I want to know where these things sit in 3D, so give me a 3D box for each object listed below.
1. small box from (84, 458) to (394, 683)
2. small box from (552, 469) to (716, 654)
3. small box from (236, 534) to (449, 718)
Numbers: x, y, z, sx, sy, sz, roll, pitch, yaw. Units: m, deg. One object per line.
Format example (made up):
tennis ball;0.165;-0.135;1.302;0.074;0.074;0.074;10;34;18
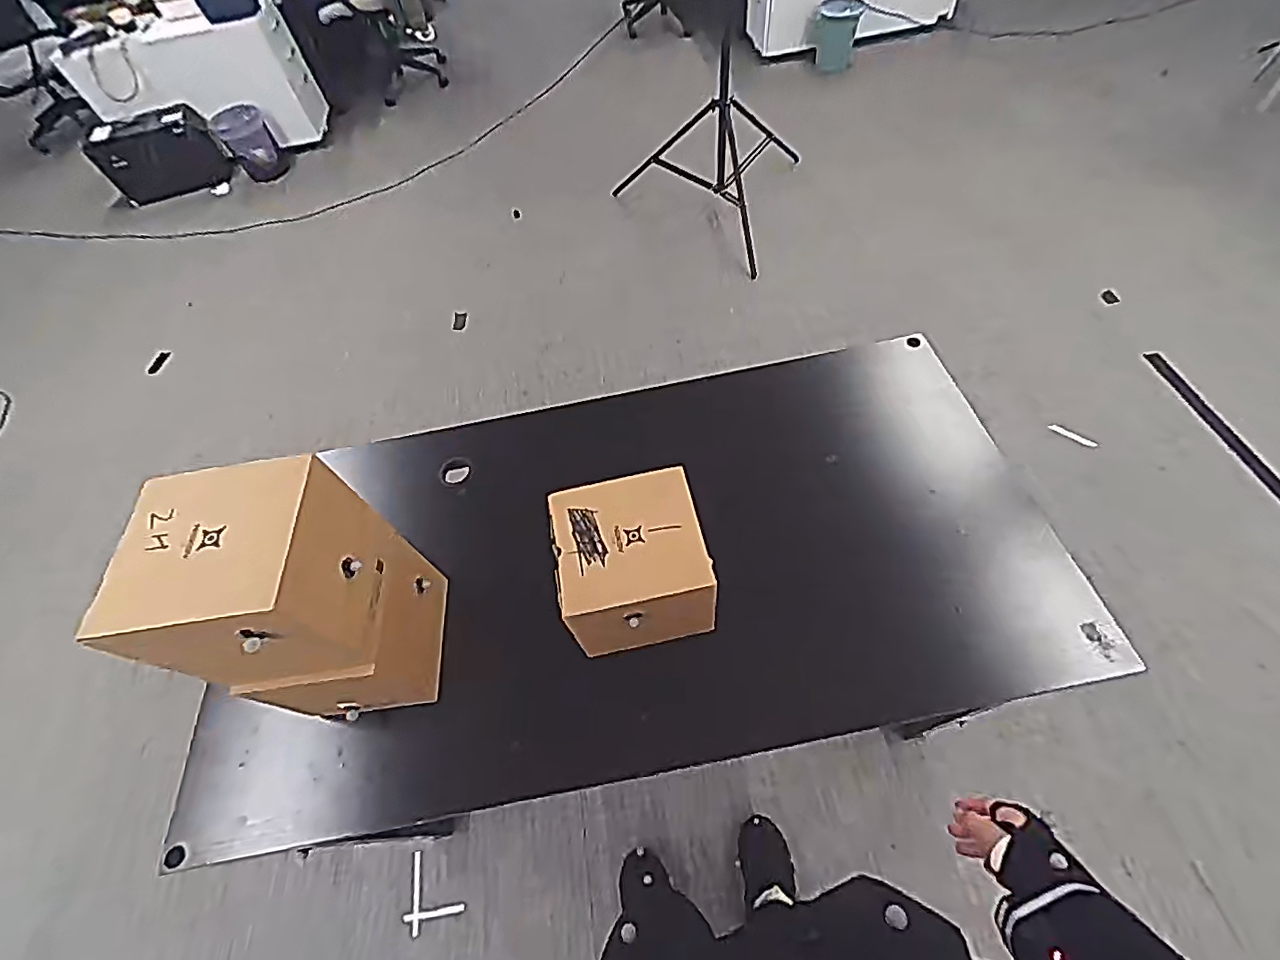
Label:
small box;-0.383;0.101;0.561;0.179;0.176;0.168;-9;57;2
small box;-0.005;0.113;0.703;0.179;0.176;0.168;-12;57;-2
small box;-0.360;0.193;0.697;0.168;0.176;0.179;-9;58;2
